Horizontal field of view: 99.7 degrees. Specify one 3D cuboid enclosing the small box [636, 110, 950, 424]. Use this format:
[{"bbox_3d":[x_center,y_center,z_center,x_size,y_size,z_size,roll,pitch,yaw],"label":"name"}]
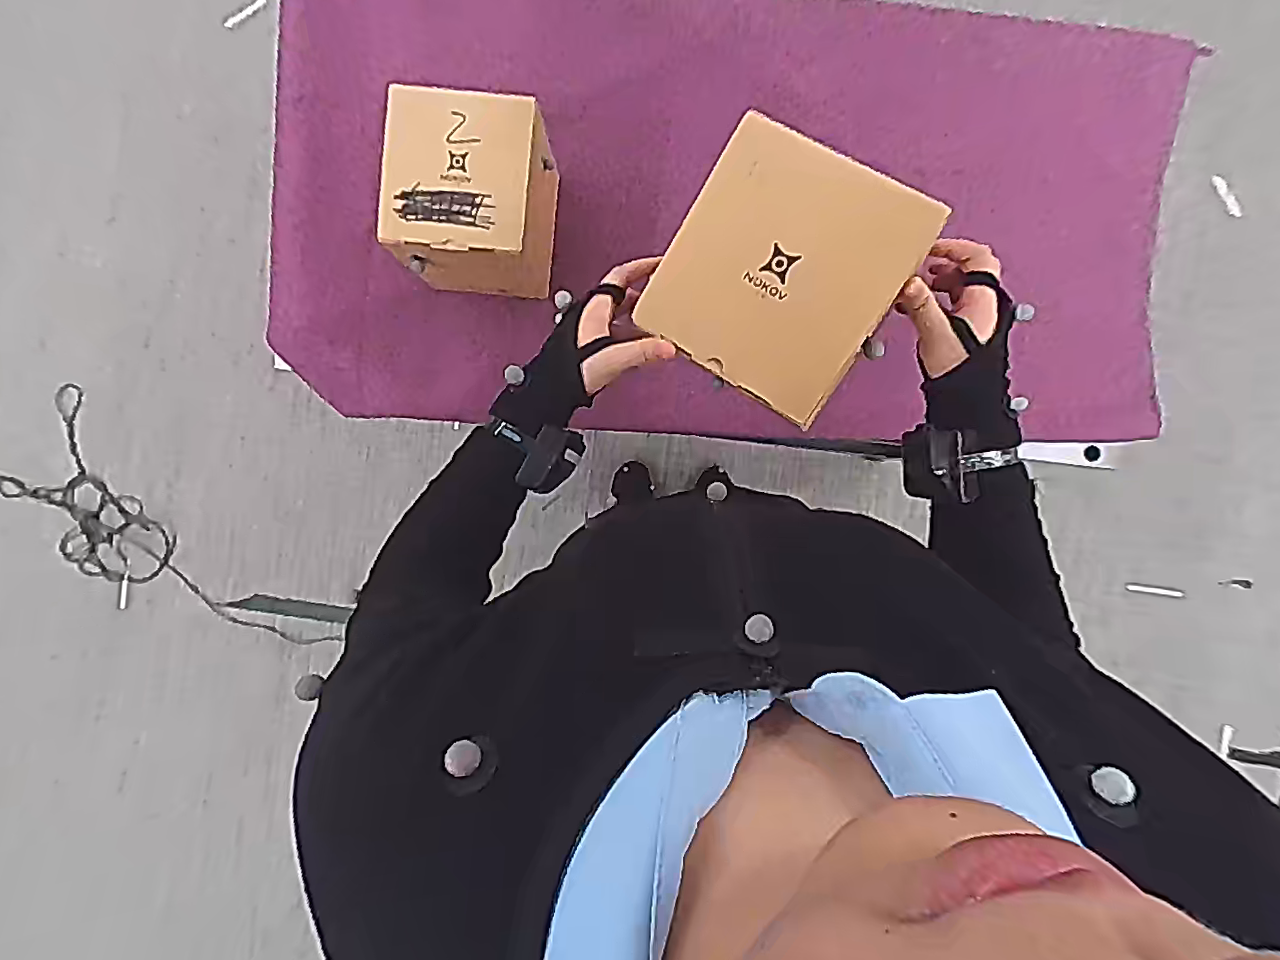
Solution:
[{"bbox_3d":[0.126,-0.164,0.476,0.168,0.176,0.179,34,104,12],"label":"small box"}]
